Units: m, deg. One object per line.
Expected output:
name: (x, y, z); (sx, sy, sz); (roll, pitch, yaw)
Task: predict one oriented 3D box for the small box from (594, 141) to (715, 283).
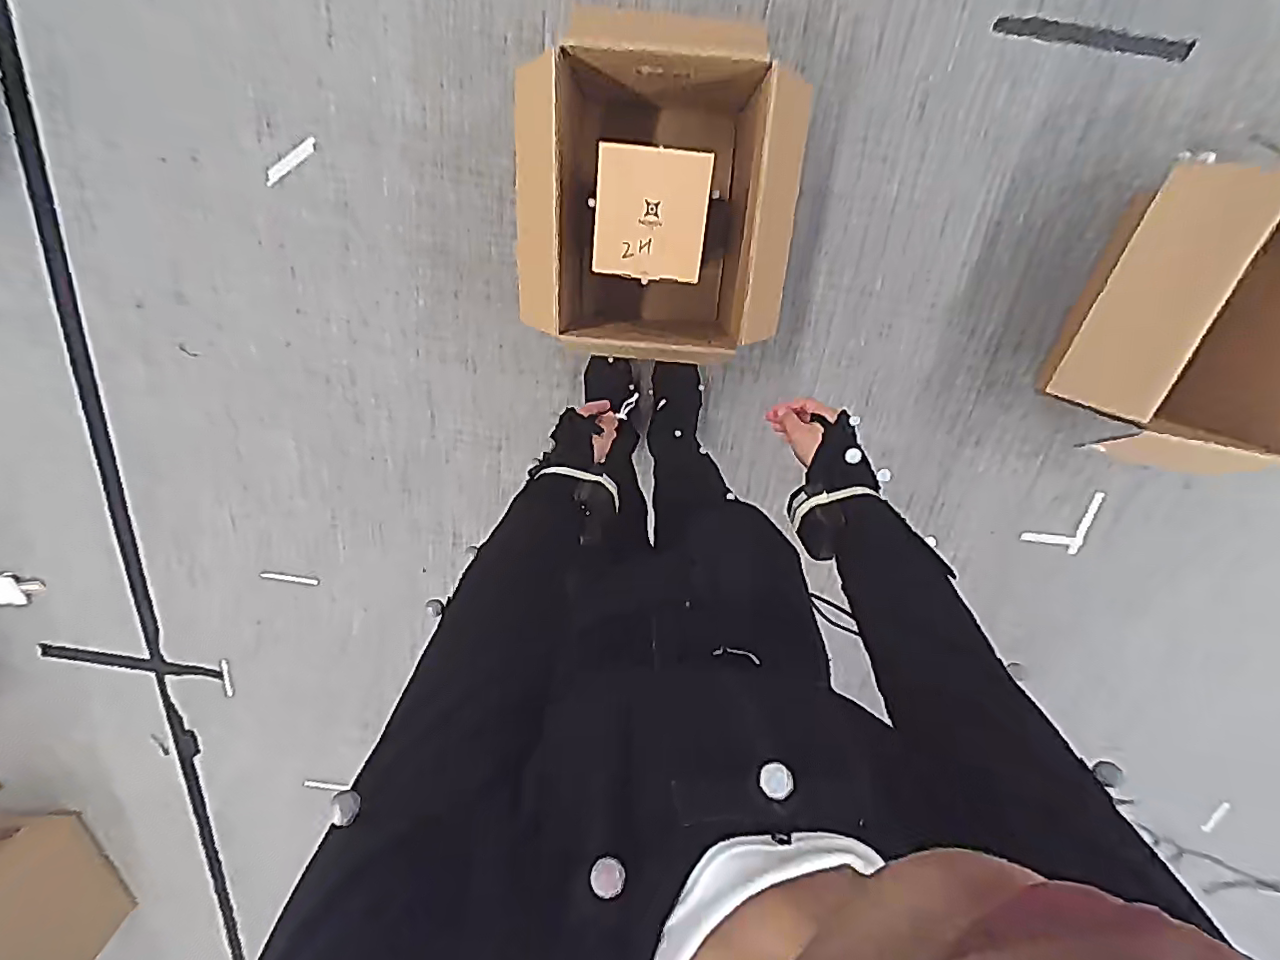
small box: (0.019, -0.421, 0.870); (0.168, 0.176, 0.179); (6, 113, -1)
